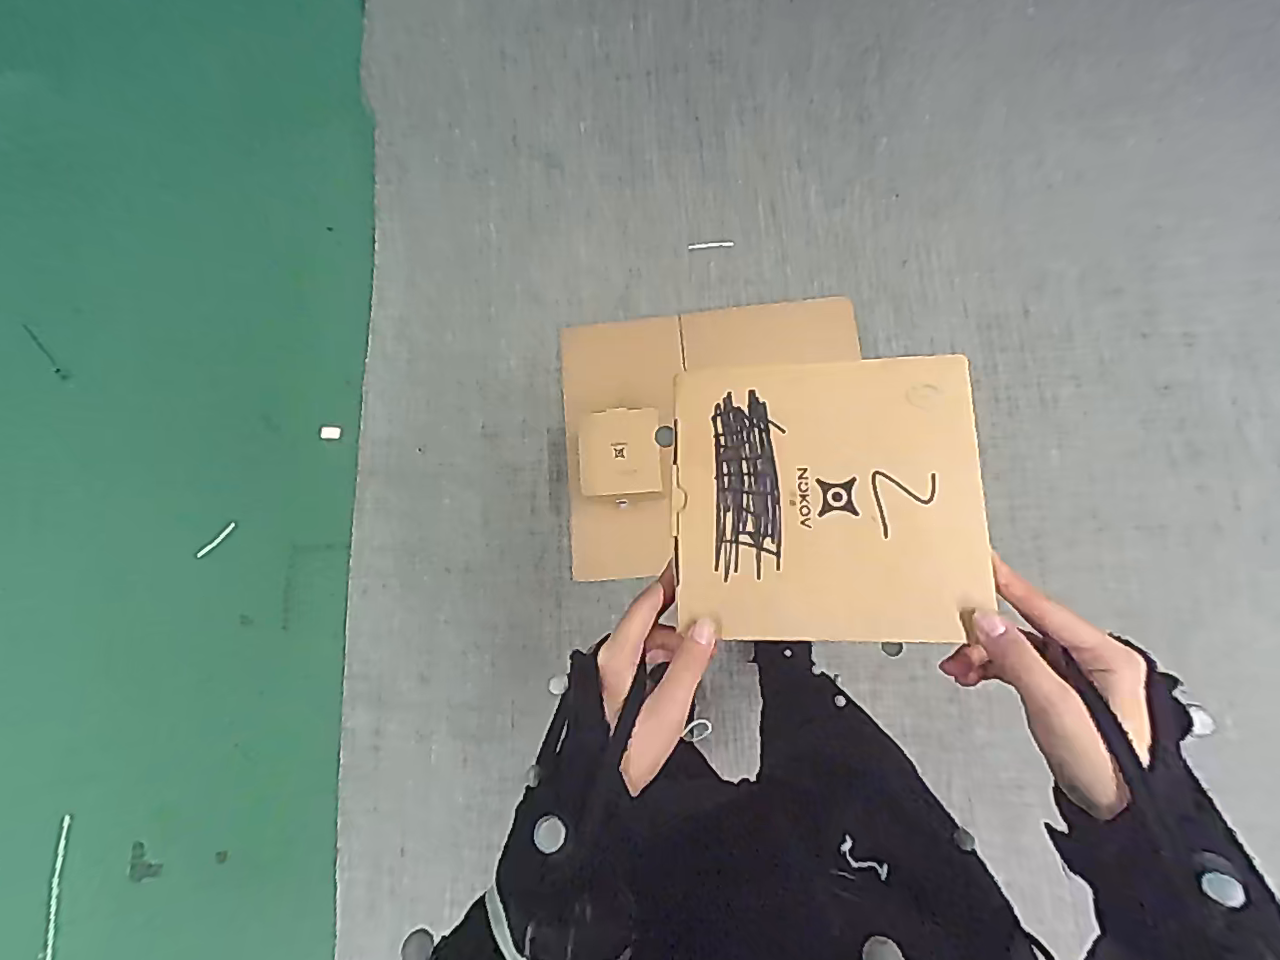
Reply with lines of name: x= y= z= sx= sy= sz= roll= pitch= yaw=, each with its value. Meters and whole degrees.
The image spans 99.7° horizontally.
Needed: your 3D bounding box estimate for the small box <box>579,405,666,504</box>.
small box: x=-0.032 y=-0.048 z=1.159 sx=0.168 sy=0.176 sz=0.179 roll=-5 pitch=82 yaw=5
